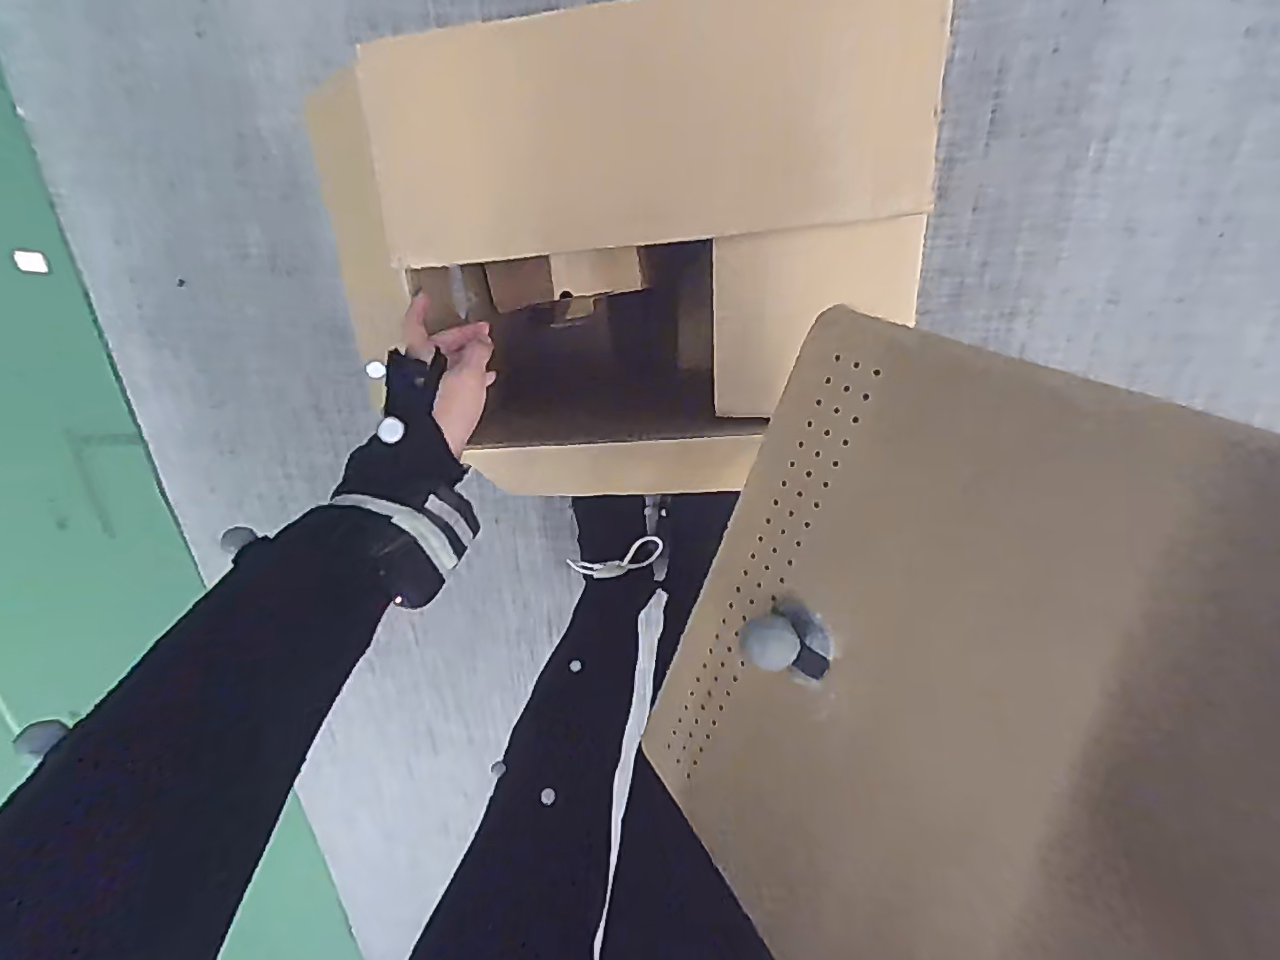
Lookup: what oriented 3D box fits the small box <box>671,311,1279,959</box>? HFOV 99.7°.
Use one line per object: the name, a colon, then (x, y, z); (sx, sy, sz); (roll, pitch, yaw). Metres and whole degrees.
small box: (0.133, 0.065, 0.175); (0.168, 0.176, 0.179); (2, 116, -36)
